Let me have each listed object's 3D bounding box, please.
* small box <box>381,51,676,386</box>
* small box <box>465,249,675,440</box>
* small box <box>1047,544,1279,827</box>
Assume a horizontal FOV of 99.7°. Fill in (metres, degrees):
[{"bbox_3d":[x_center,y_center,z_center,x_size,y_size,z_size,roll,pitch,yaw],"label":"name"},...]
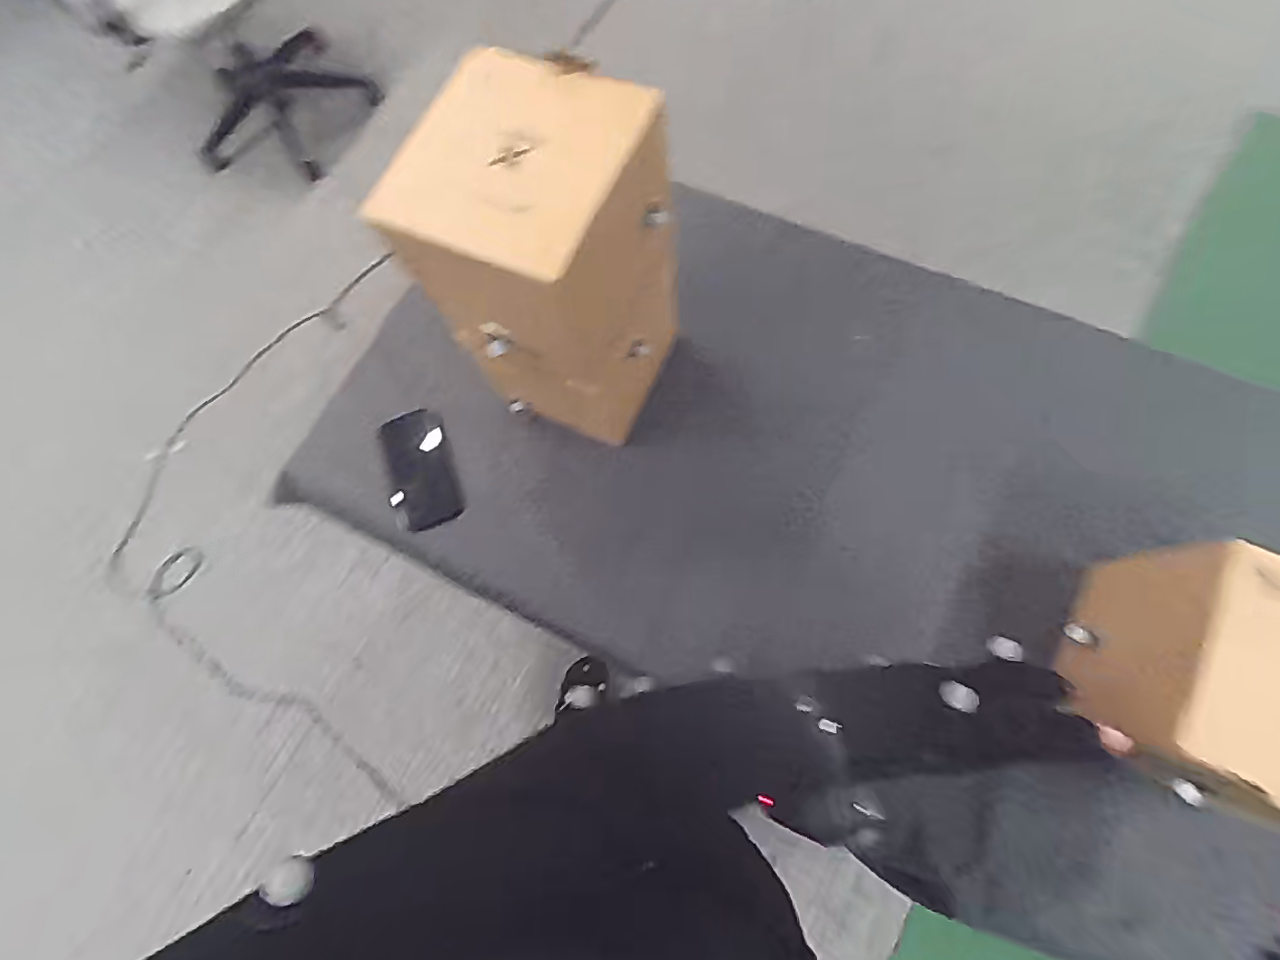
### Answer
[{"bbox_3d":[-0.076,-0.213,0.473,0.168,0.176,0.179,23,79,12],"label":"small box"},{"bbox_3d":[-0.063,-0.170,0.629,0.168,0.176,0.179,24,77,11],"label":"small box"},{"bbox_3d":[0.505,0.181,0.471,0.168,0.176,0.179,27,79,13],"label":"small box"}]
